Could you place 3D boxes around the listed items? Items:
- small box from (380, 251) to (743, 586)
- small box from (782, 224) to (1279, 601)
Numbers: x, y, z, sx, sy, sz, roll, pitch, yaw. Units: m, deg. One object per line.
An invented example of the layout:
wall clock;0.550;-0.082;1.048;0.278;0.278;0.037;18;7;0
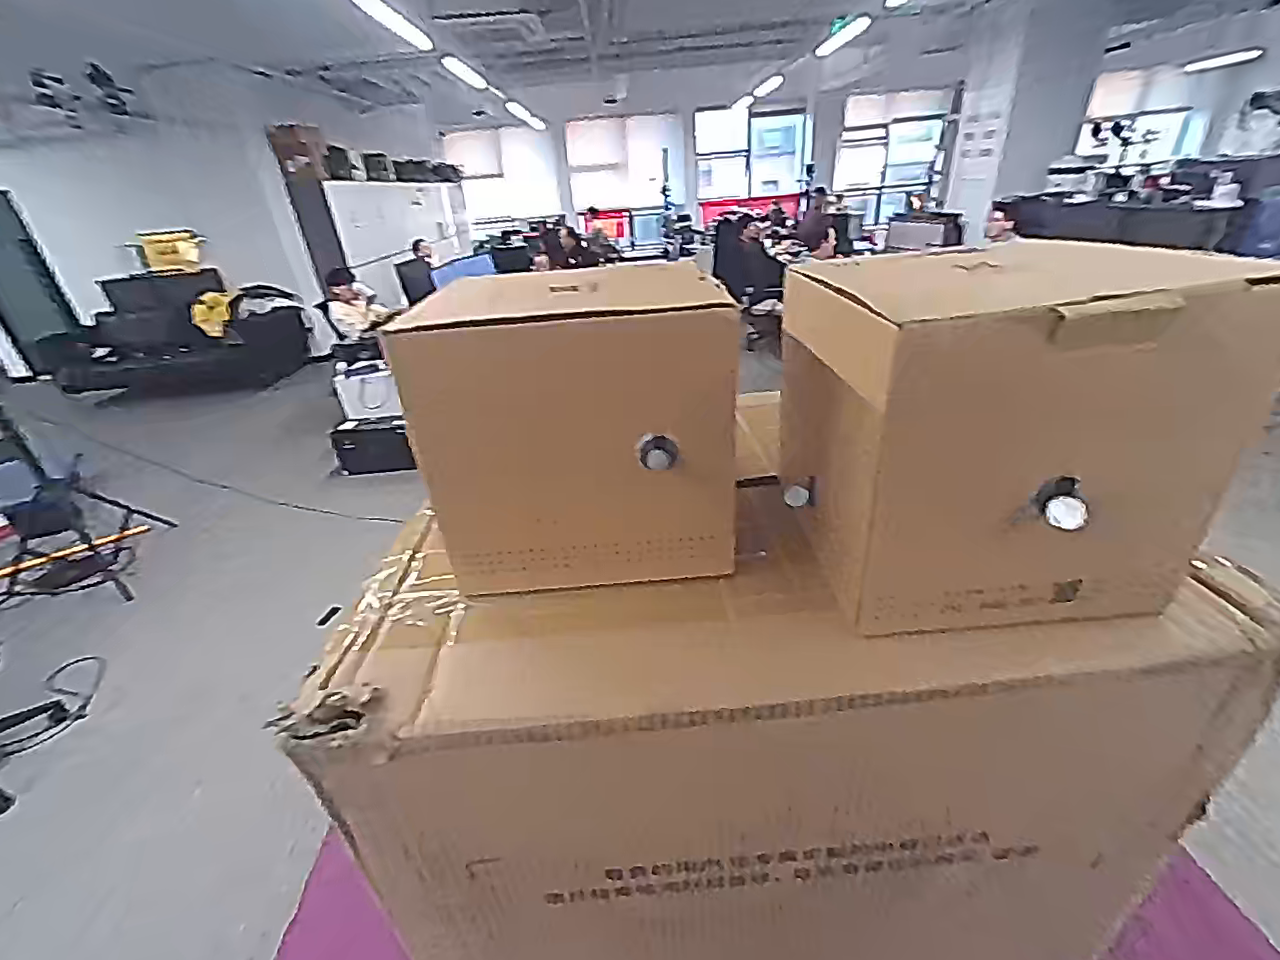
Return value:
small box;-0.035;-0.048;0.363;0.179;0.176;0.168;-6;28;0
small box;0.186;-0.043;0.319;0.168;0.176;0.179;-5;29;1
